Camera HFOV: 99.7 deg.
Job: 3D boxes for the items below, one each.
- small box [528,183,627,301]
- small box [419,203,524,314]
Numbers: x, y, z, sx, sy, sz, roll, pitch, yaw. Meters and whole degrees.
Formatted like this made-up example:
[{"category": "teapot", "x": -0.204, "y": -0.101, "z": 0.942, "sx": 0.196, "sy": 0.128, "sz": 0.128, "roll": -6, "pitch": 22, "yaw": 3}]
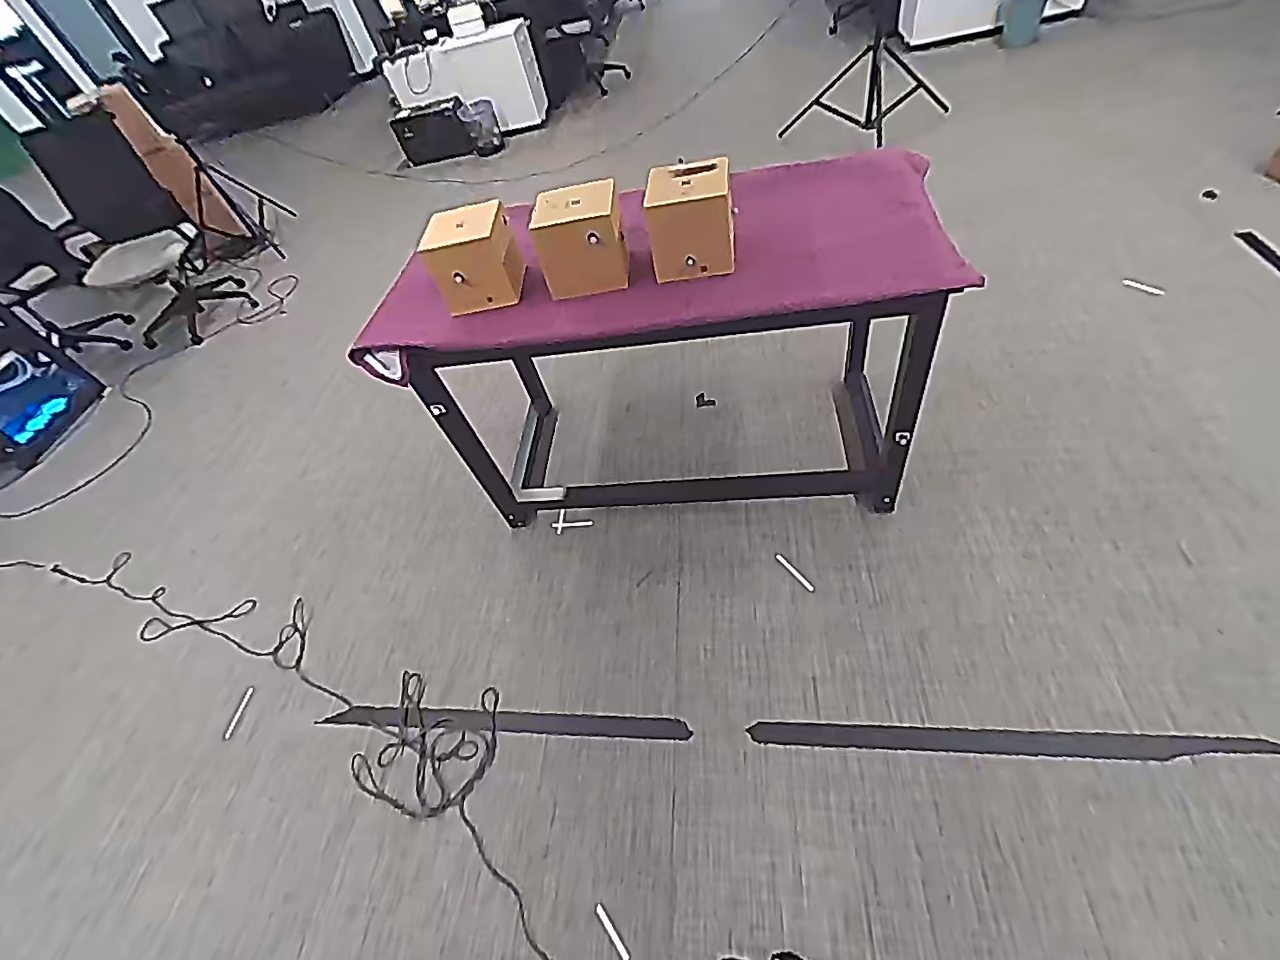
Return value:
[{"category": "small box", "x": -0.127, "y": -0.522, "z": 1.195, "sx": 0.179, "sy": 0.176, "sz": 0.168, "roll": -7, "pitch": 49, "yaw": 9}, {"category": "small box", "x": -0.377, "y": -0.501, "z": 1.247, "sx": 0.168, "sy": 0.176, "sz": 0.179, "roll": -9, "pitch": 50, "yaw": 7}]
